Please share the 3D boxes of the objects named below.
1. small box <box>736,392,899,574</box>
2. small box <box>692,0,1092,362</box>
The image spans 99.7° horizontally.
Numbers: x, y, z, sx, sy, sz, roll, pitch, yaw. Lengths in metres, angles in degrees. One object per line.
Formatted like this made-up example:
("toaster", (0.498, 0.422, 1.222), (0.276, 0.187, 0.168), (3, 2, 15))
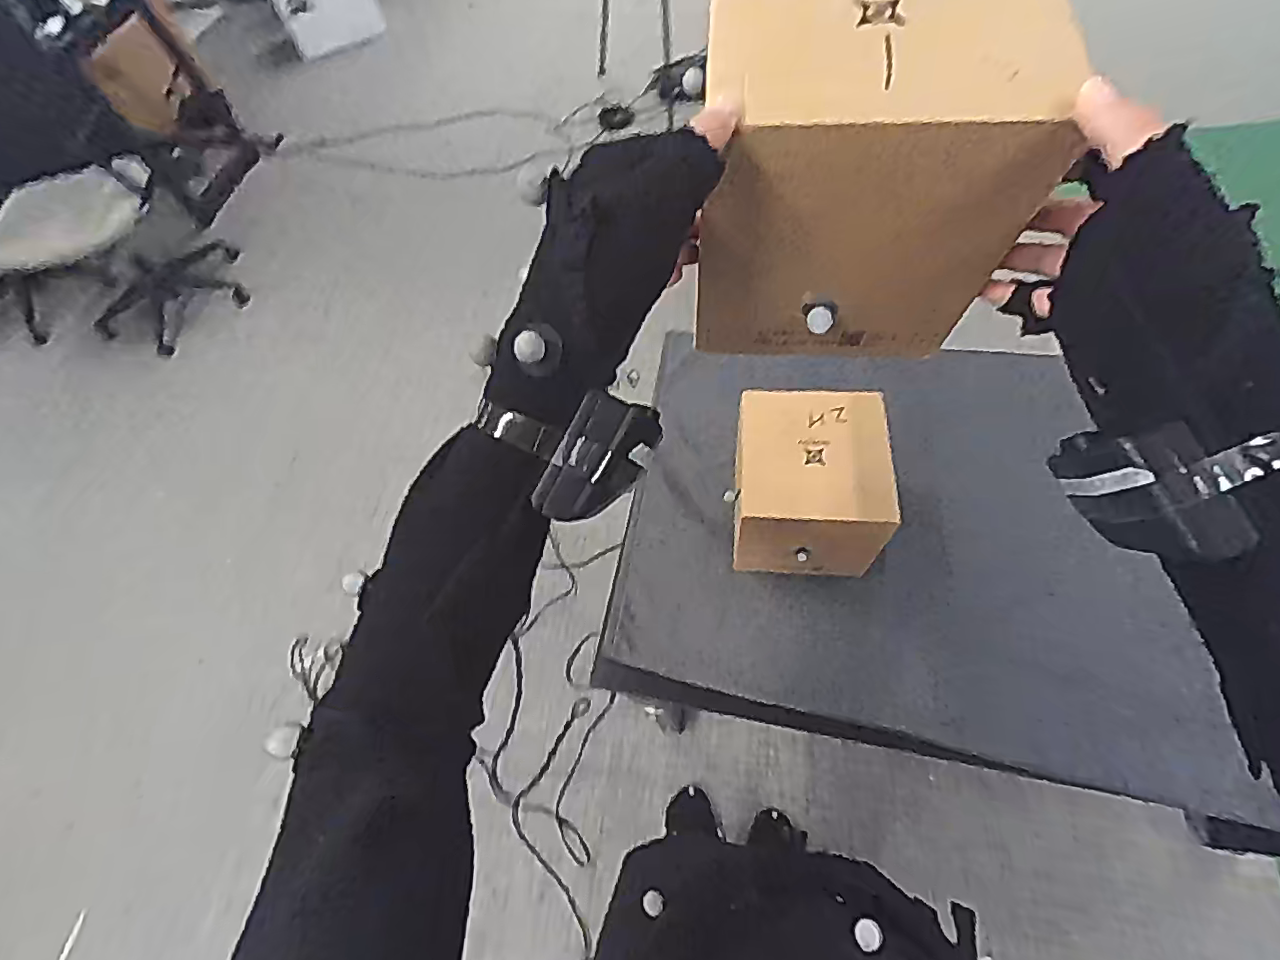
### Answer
("small box", (0.210, 0.009, 0.683), (0.168, 0.176, 0.179), (2, 60, 8))
("small box", (0.119, -0.197, 0.338), (0.168, 0.176, 0.179), (2, 67, 6))
